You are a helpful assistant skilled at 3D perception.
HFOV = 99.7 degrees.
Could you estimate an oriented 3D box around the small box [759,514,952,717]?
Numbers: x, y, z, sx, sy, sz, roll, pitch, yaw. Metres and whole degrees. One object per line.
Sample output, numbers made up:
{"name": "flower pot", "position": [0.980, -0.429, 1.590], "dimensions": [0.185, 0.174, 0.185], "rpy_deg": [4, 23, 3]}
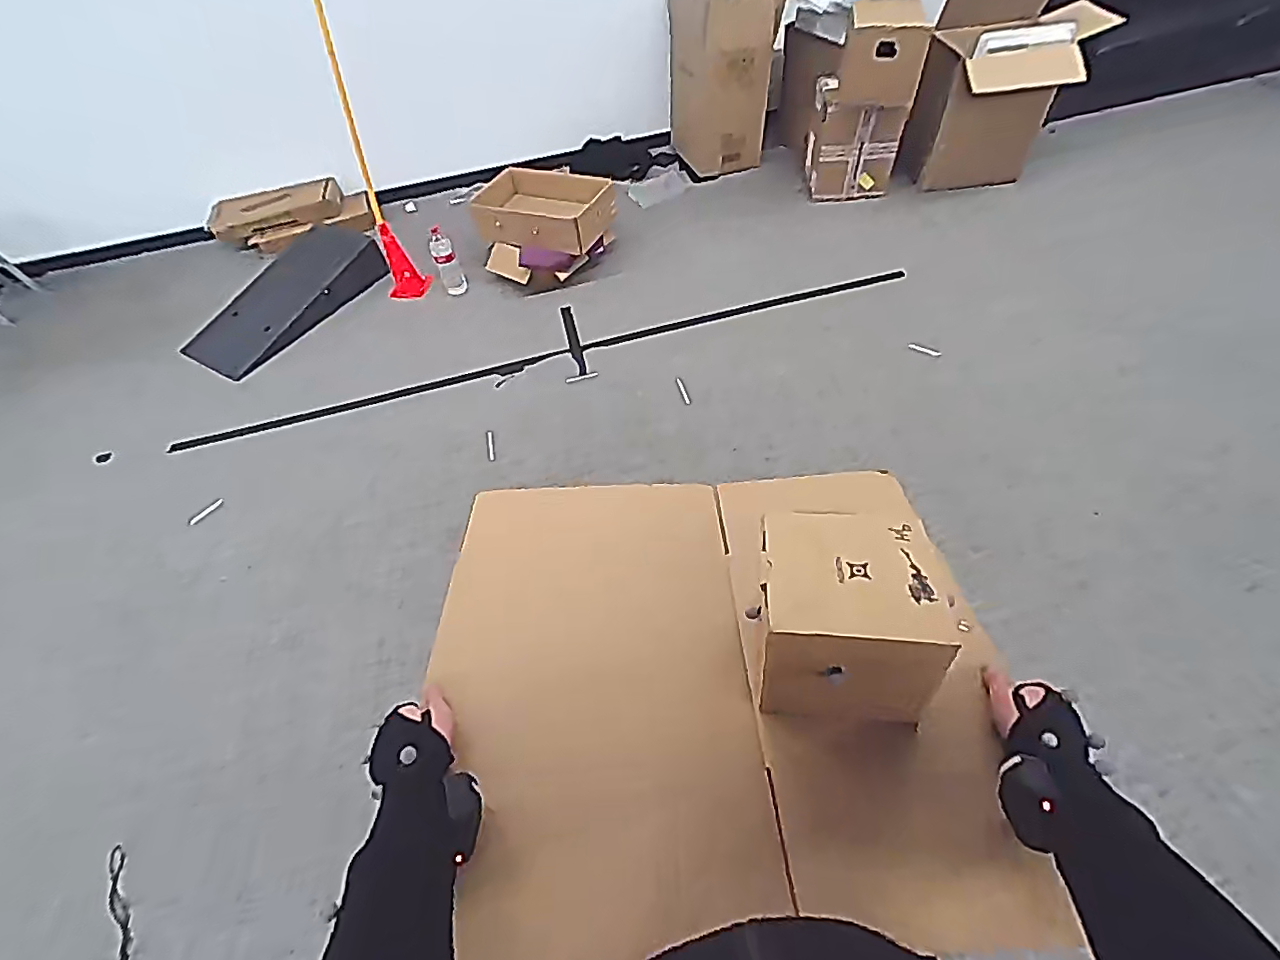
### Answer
{"name": "small box", "position": [0.229, 0.157, 0.628], "dimensions": [0.179, 0.176, 0.168], "rpy_deg": [0, 43, 11]}
